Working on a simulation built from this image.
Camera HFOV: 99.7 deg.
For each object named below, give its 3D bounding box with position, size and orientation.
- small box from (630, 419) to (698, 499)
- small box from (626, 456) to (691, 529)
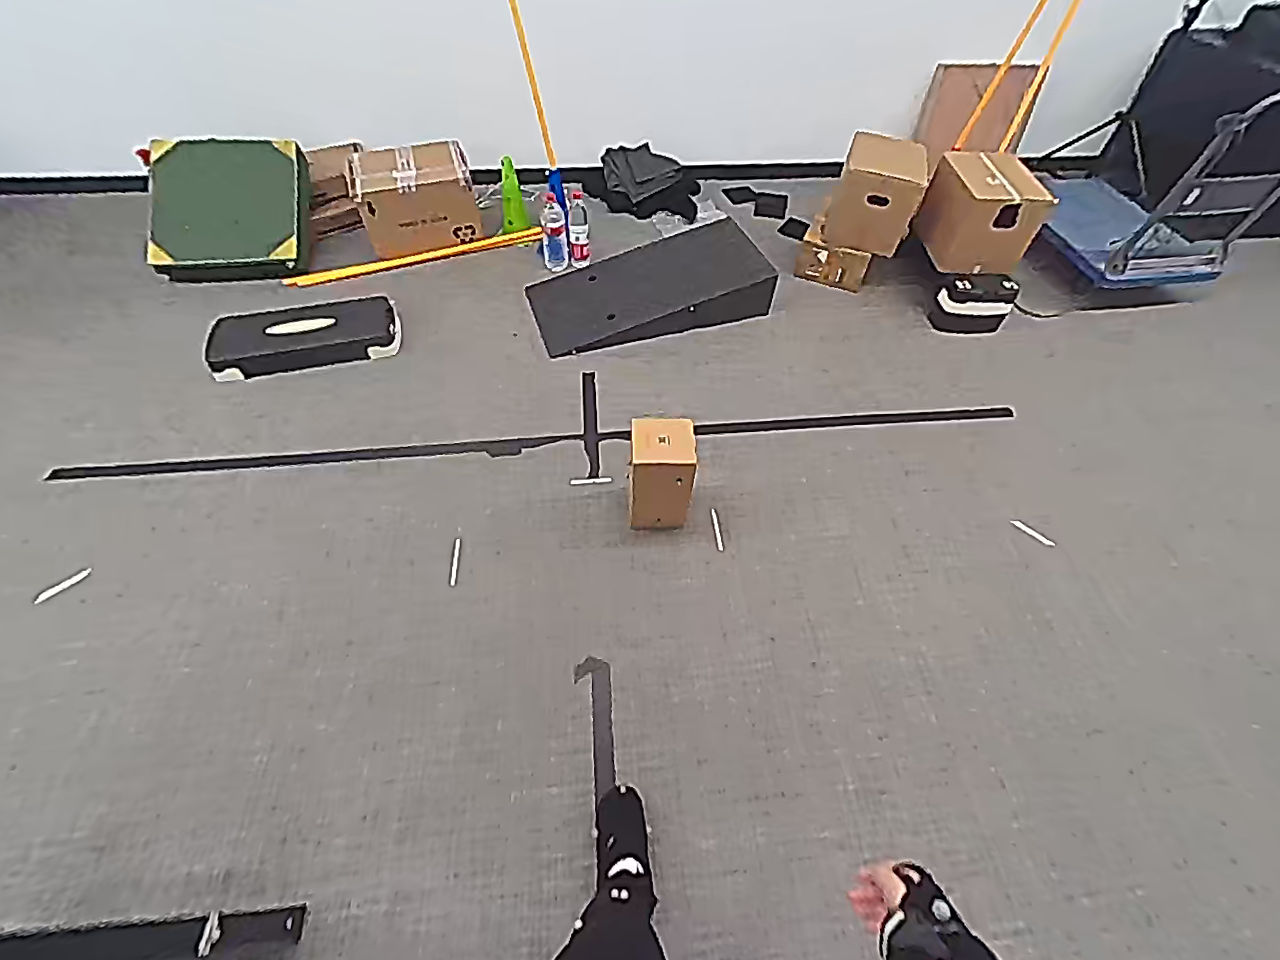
[{"bbox_3d":[0.063,-0.057,1.534,0.179,0.176,0.168,0,53,-2],"label":"small box"},{"bbox_3d":[0.052,0.040,1.667,0.179,0.176,0.168,-2,53,-5],"label":"small box"}]
